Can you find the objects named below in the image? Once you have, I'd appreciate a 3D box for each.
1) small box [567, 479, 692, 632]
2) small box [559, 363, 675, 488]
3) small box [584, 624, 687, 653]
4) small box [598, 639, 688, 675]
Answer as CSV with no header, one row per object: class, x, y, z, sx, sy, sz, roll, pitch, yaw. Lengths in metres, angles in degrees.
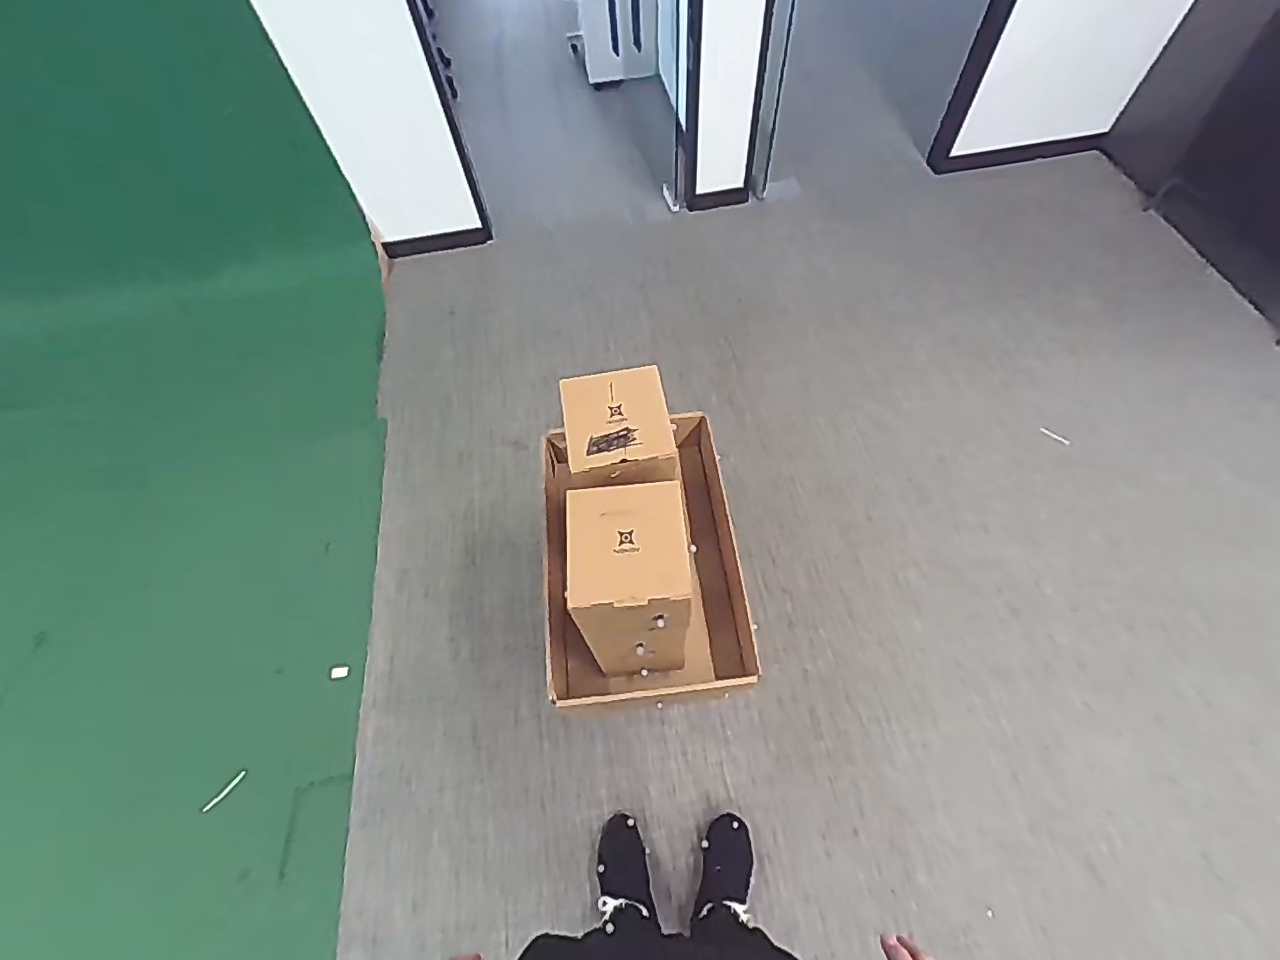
small box,-0.012,0.120,0.798,0.168,0.176,0.179,-5,60,1
small box,-0.034,-0.067,0.911,0.168,0.176,0.179,-10,63,-2
small box,-0.008,0.197,0.943,0.168,0.176,0.179,-6,60,0
small box,0.003,0.278,1.084,0.168,0.176,0.179,-7,60,1
